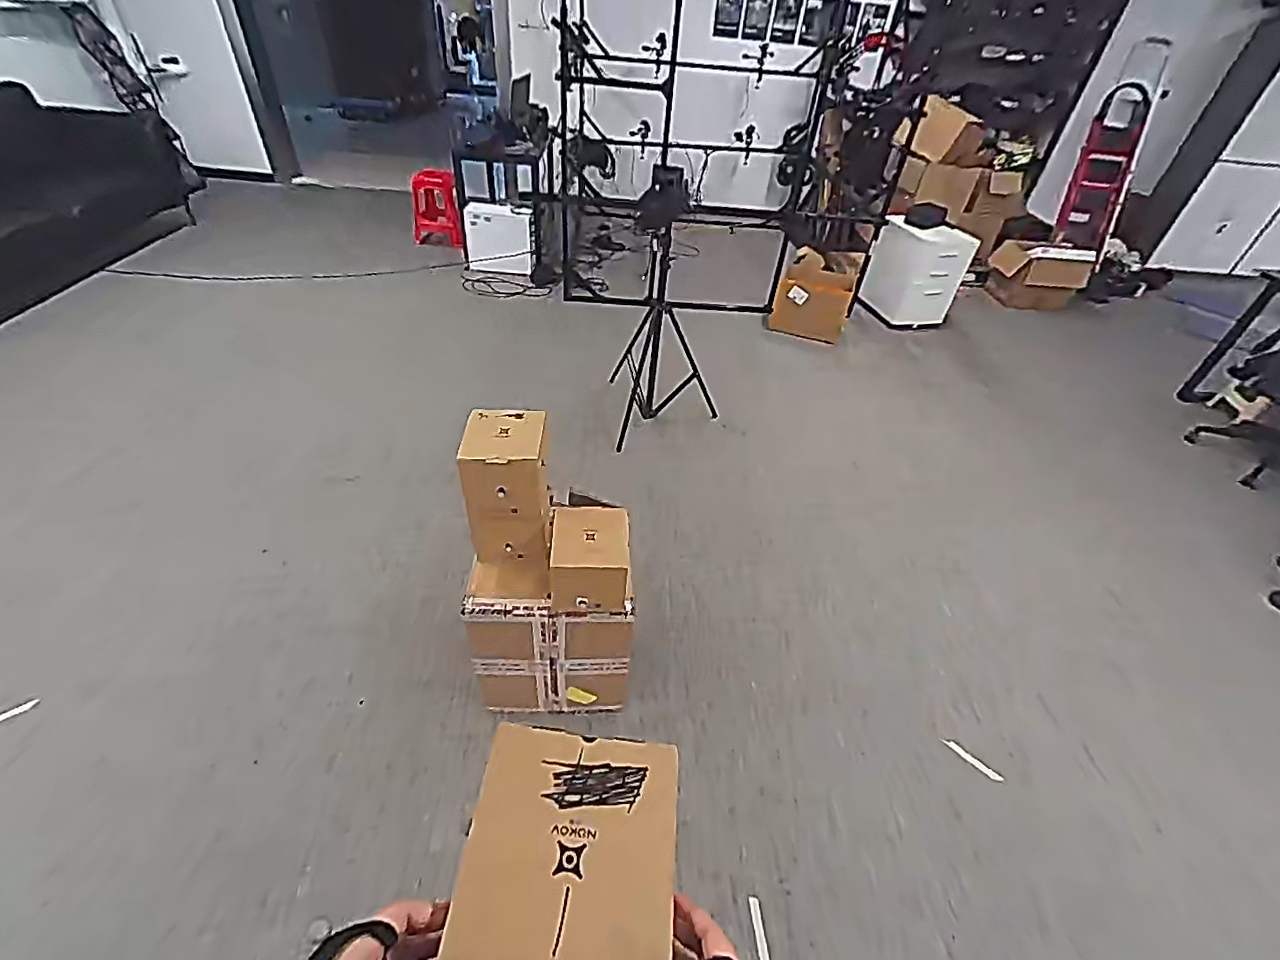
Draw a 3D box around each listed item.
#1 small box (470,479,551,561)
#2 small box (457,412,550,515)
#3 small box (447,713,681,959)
[{"bbox_3d":[-0.309,0.080,1.327,0.168,0.176,0.179,-1,43,-4],"label":"small box"},{"bbox_3d":[-0.295,-0.035,1.210,0.168,0.176,0.179,0,44,-4],"label":"small box"},{"bbox_3d":[-0.060,0.341,0.492,0.168,0.176,0.179,8,45,-2],"label":"small box"}]
